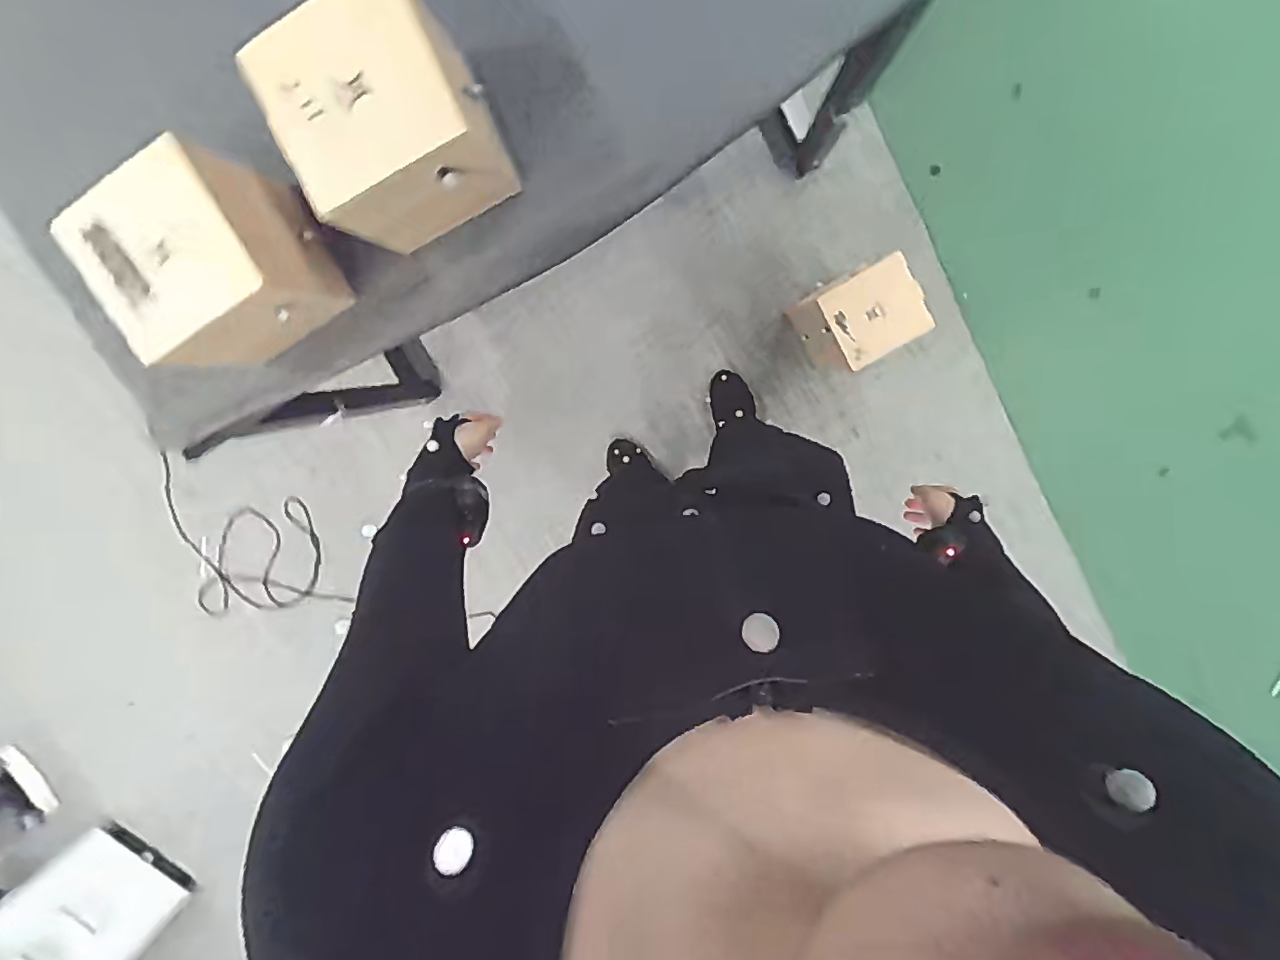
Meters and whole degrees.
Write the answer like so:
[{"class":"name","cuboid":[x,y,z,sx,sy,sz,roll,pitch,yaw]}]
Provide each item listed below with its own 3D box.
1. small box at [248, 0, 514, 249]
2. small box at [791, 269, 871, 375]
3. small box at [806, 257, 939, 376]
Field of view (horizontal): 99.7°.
[{"class":"small box","cuboid":[-0.258,-0.381,0.590,0.179,0.176,0.168,-22,97,11]},{"class":"small box","cuboid":[0.478,-0.366,1.274,0.168,0.176,0.179,-29,97,11]},{"class":"small box","cuboid":[0.467,-0.330,1.113,0.179,0.176,0.168,-27,100,10]}]
